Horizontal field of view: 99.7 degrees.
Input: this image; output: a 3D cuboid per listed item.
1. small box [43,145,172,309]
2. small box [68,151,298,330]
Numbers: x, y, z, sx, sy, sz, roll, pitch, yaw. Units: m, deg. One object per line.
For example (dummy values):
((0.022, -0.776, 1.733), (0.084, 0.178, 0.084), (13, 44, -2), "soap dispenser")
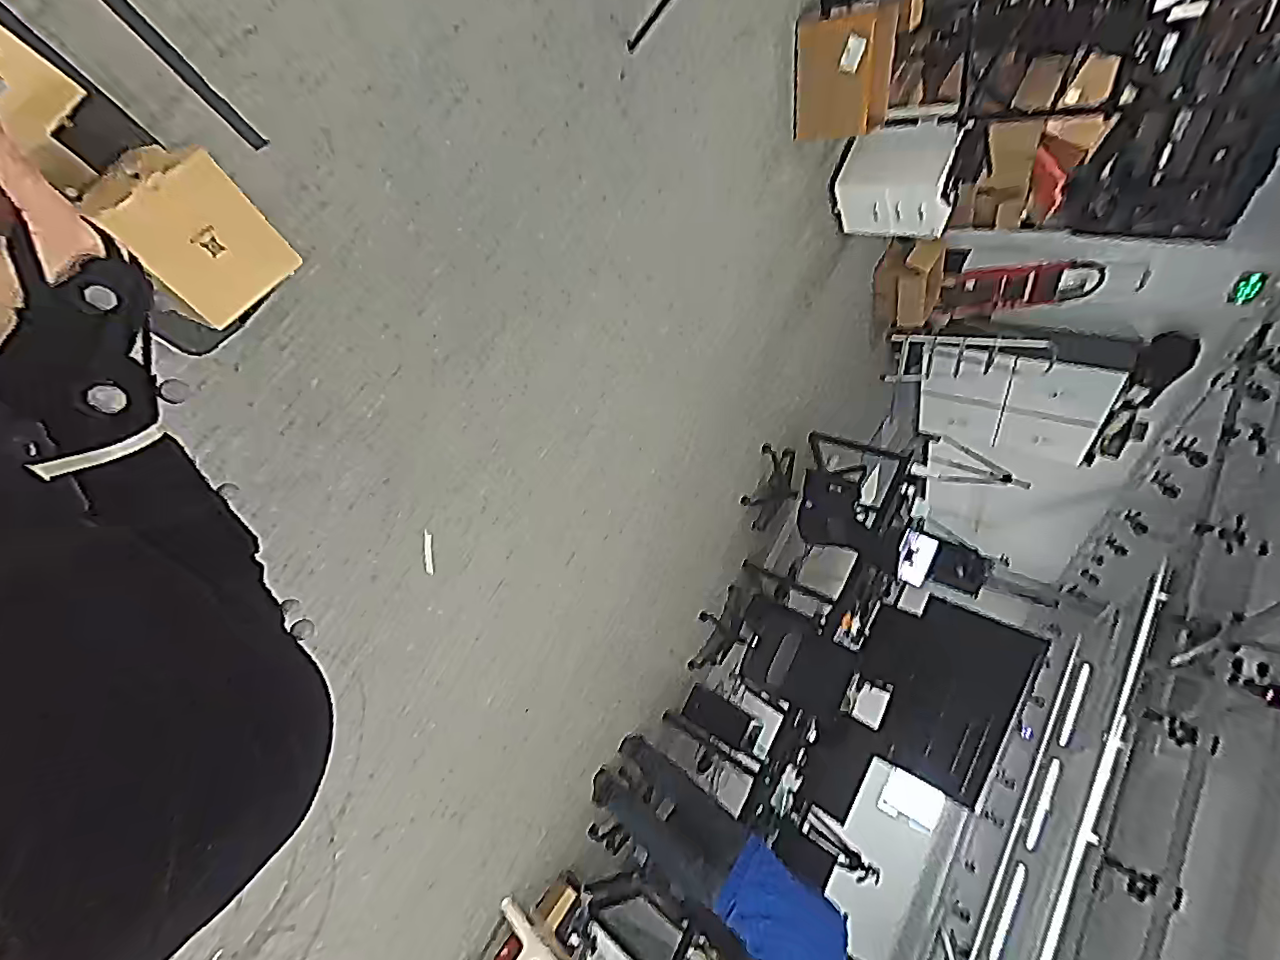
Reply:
((-0.792, -0.404, 0.869), (0.179, 0.176, 0.168), (-57, 145, -18), "small box")
((-0.660, -0.350, 0.789), (0.168, 0.176, 0.179), (-54, 143, -20), "small box")
